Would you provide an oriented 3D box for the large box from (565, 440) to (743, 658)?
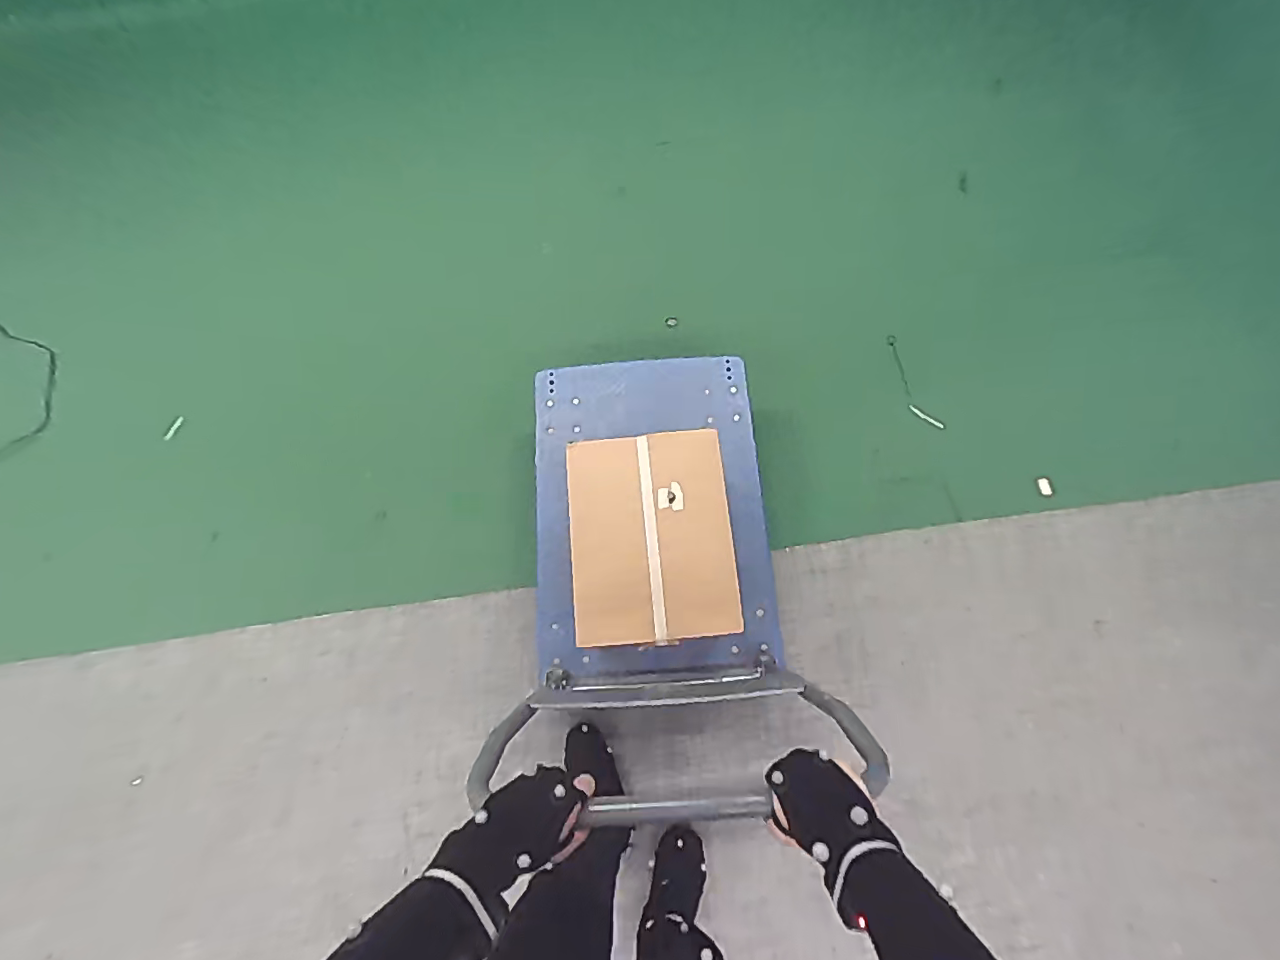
[{"bbox_3d":[0.026,0.163,1.192,0.320,0.320,0.408,-5,75,0],"label":"large box"}]
